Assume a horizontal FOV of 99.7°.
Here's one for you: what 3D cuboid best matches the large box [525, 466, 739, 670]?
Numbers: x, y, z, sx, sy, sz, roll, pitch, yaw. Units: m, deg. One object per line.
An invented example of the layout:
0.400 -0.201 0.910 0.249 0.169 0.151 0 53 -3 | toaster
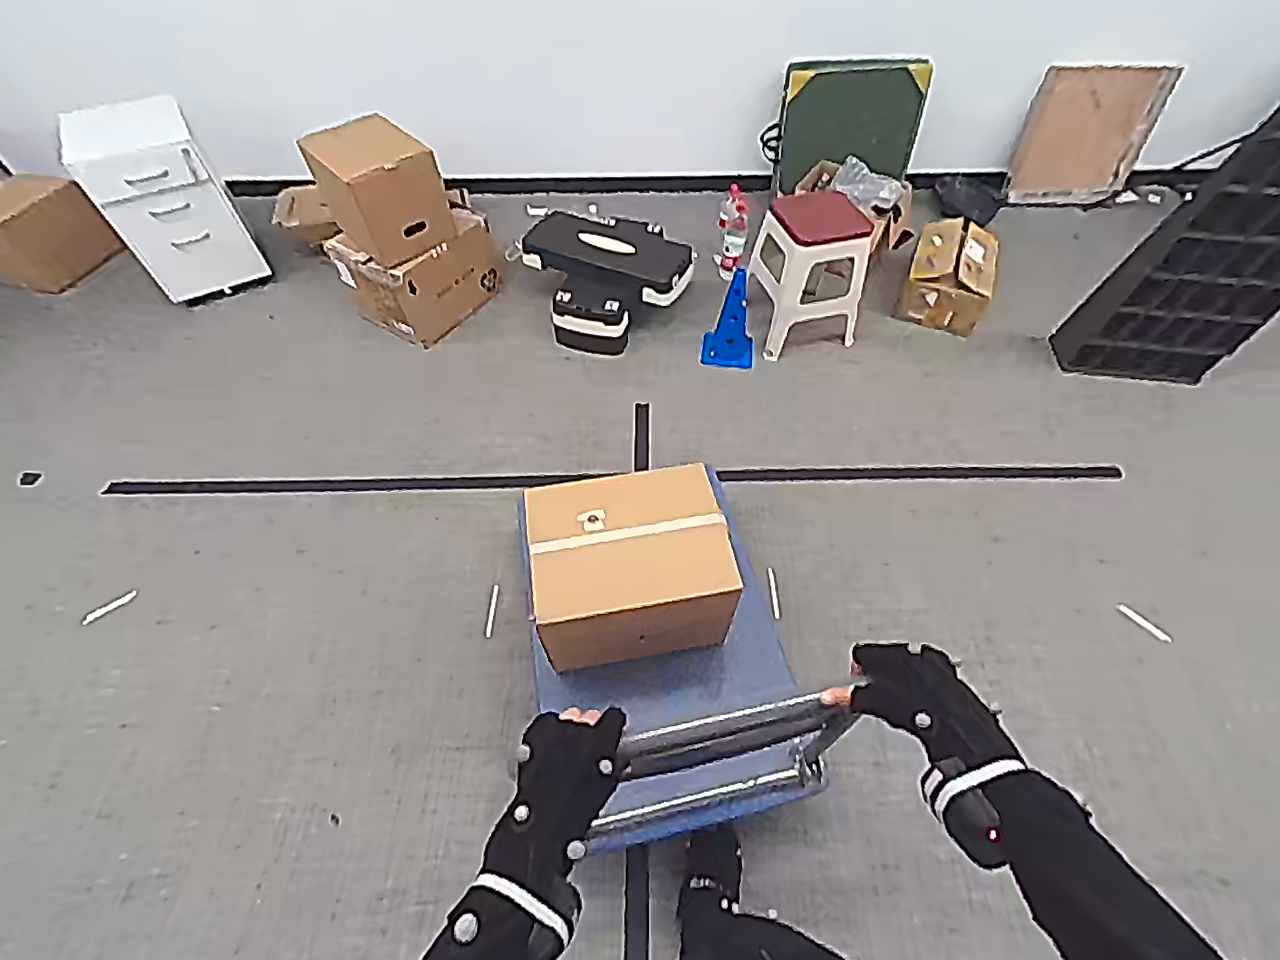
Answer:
-0.024 0.208 1.240 0.408 0.320 0.320 -10 55 -5 | large box
